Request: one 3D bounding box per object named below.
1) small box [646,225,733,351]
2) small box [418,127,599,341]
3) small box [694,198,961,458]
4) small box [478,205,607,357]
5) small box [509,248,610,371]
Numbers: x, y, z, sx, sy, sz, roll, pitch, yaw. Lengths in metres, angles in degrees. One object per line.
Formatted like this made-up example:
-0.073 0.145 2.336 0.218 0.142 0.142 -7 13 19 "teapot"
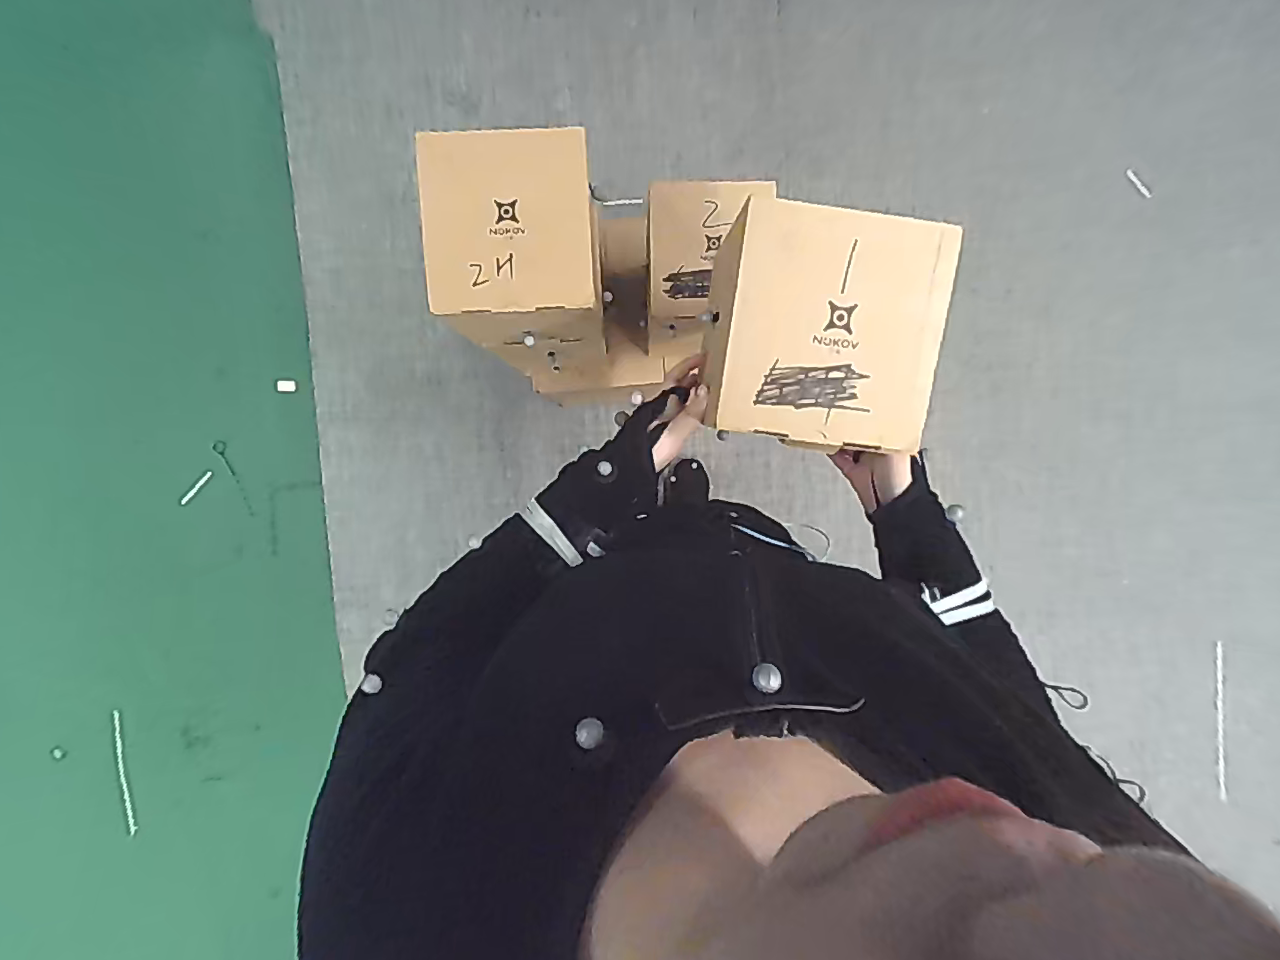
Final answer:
0.096 -0.322 0.940 0.168 0.176 0.179 -1 93 0 "small box"
-0.135 -0.262 0.612 0.168 0.176 0.179 -3 95 -1 "small box"
0.146 -0.124 0.491 0.168 0.176 0.179 8 98 -2 "small box"
-0.135 -0.273 0.777 0.168 0.176 0.179 -3 96 -2 "small box"
-0.140 -0.292 0.940 0.168 0.176 0.179 -4 95 -1 "small box"
